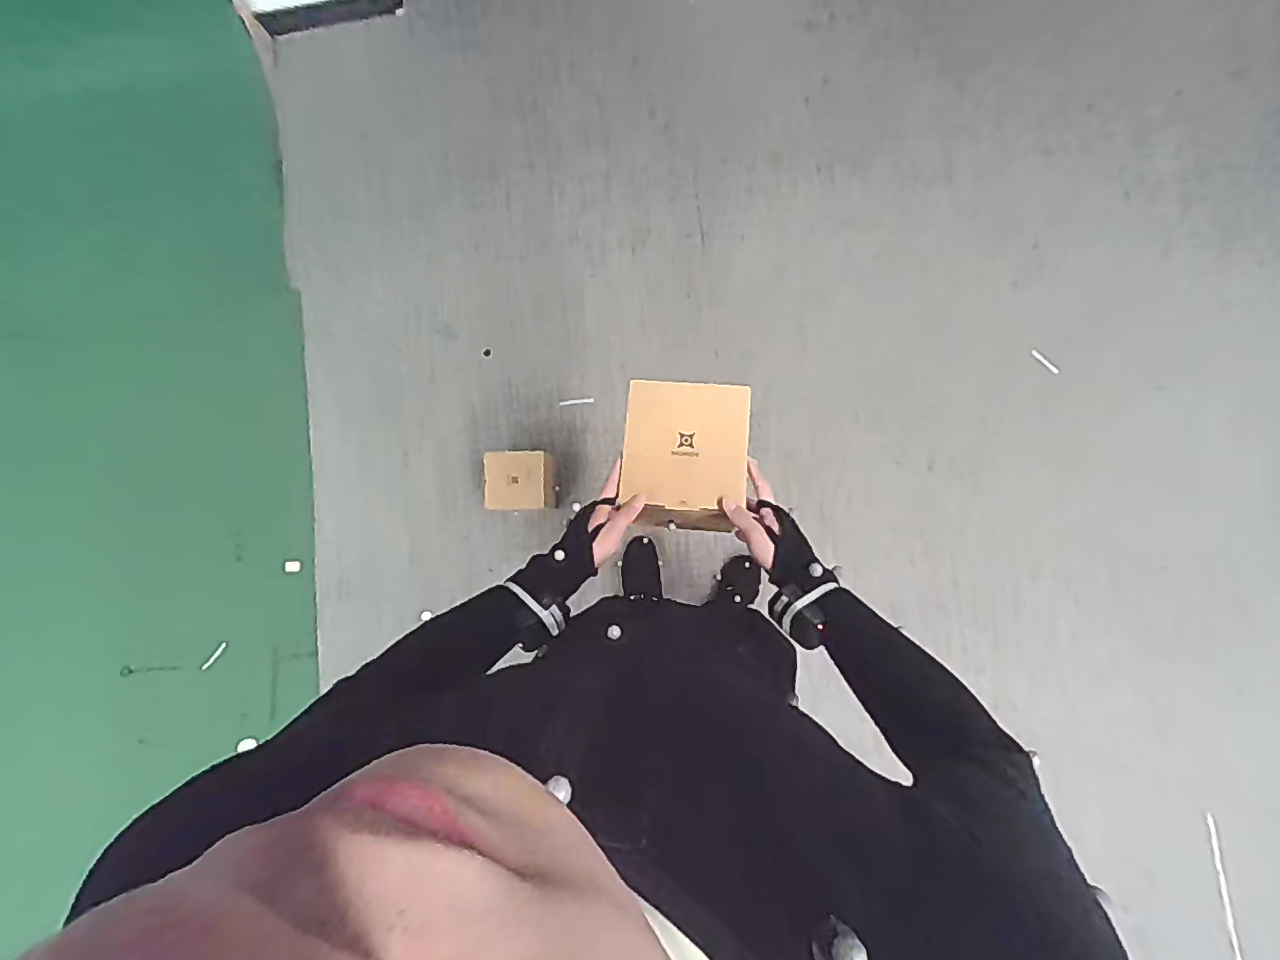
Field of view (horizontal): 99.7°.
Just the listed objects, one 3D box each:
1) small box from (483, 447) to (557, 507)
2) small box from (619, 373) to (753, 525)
[{"bbox_3d":[-0.351,-0.006,1.597,0.179,0.176,0.168,-1,87,3],"label":"small box"},{"bbox_3d":[0.064,-0.037,0.783,0.168,0.176,0.179,4,79,4],"label":"small box"}]
